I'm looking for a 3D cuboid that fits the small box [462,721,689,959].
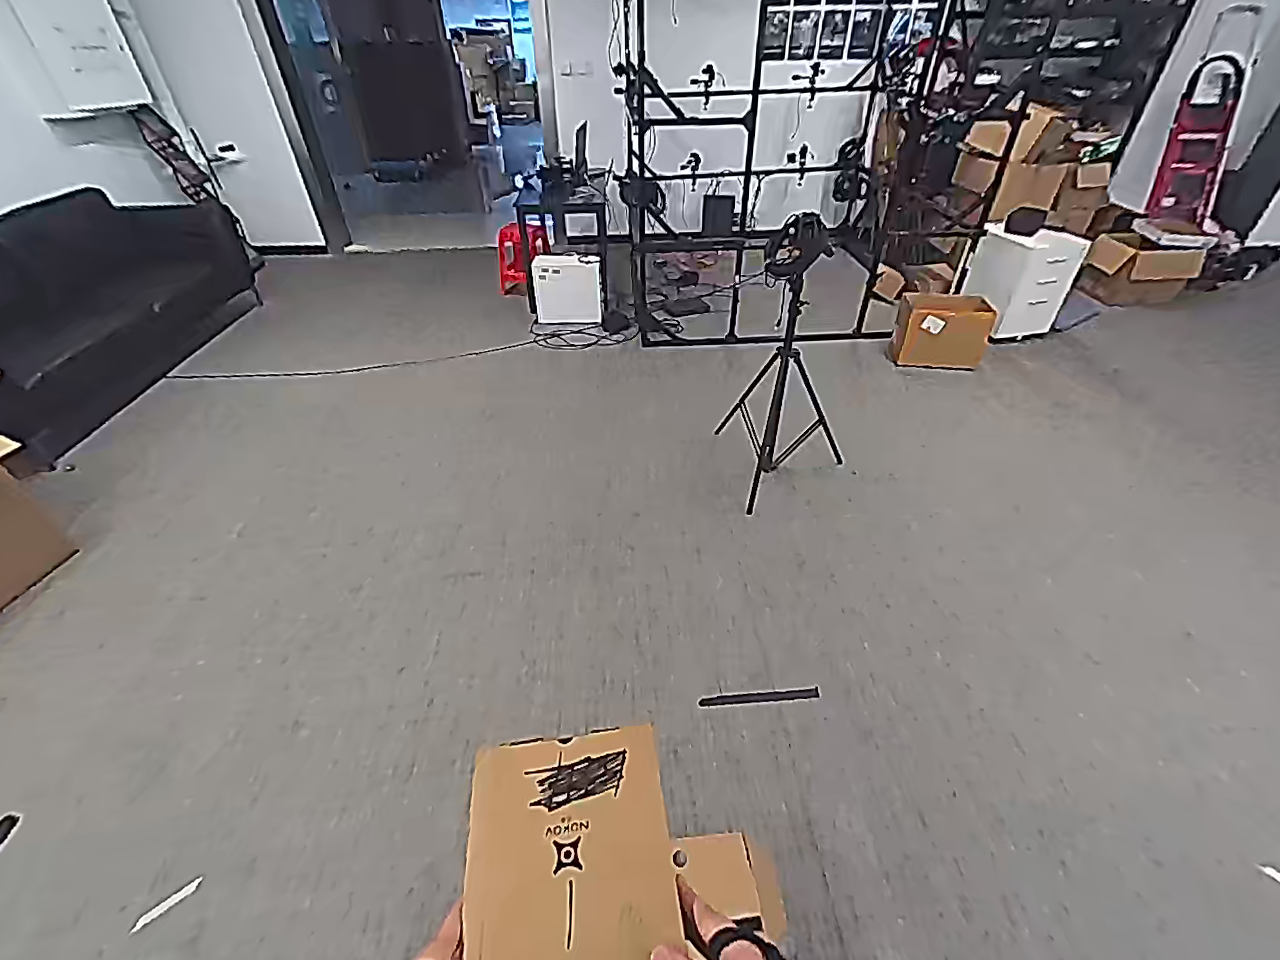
[{"bbox_3d":[-0.054,0.354,0.498,0.168,0.176,0.179,-7,42,-4],"label":"small box"}]
